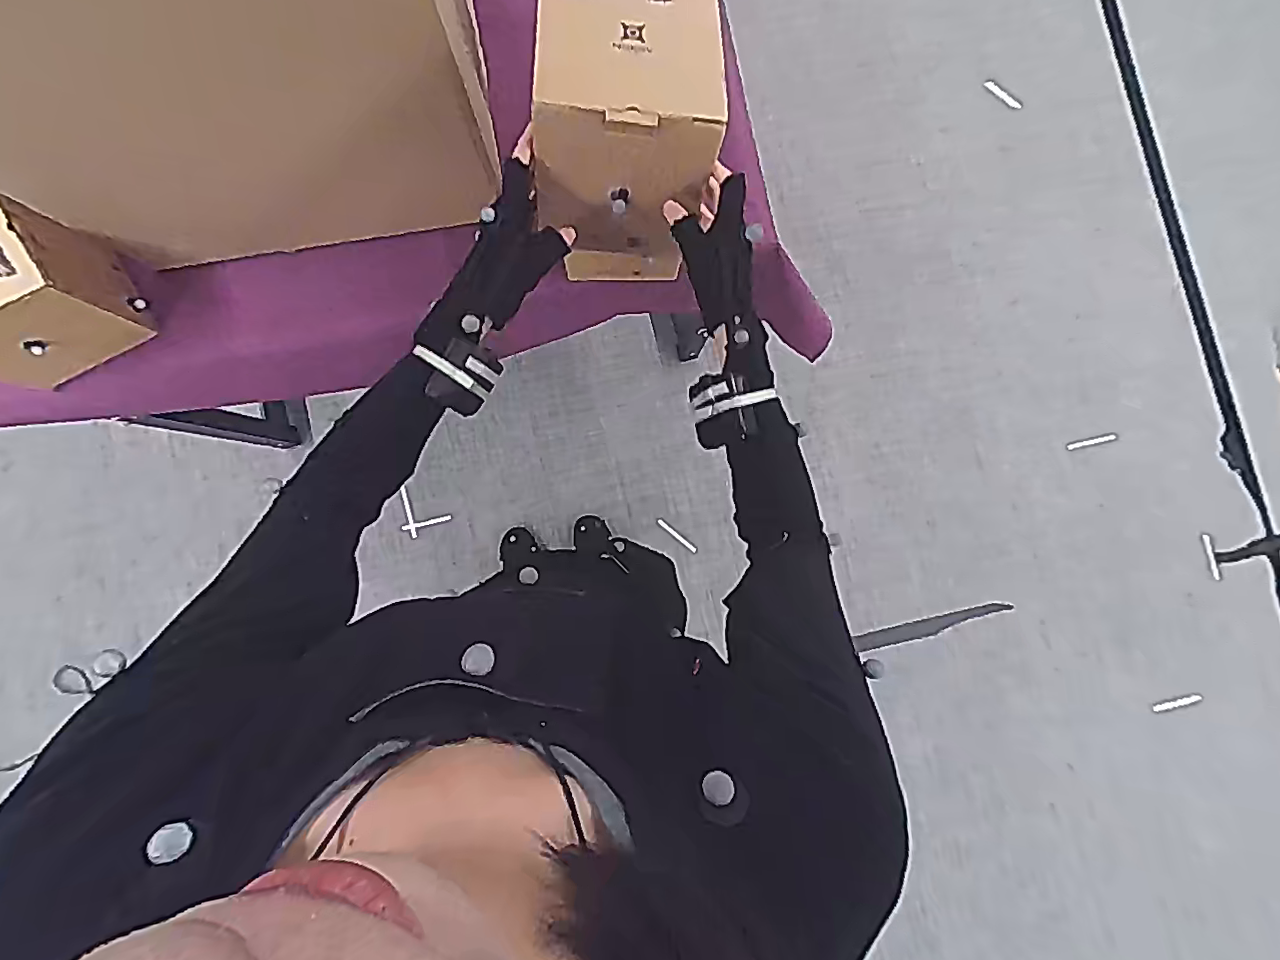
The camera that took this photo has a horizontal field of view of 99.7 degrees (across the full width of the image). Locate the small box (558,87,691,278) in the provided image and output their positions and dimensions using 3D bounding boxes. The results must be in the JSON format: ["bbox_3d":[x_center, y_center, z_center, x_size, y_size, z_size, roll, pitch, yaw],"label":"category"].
[{"bbox_3d":[-0.022,-0.395,0.746,0.168,0.176,0.179,-1,85,-3],"label":"small box"}]
